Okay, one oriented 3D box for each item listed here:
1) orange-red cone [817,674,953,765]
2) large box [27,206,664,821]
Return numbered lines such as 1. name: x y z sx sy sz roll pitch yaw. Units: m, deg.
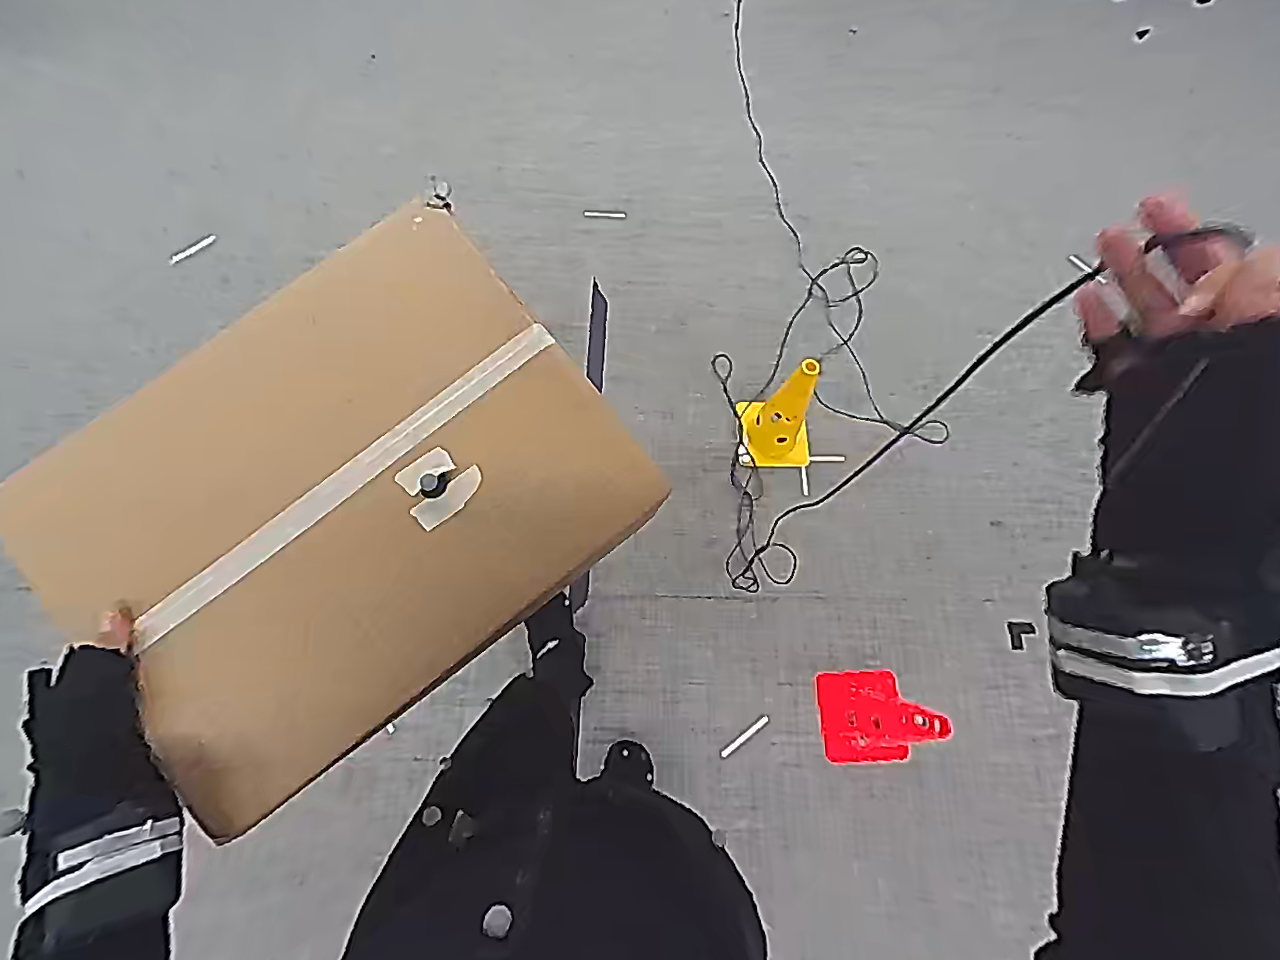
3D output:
1. orange-red cone: 0.530 0.501 1.122 0.198 0.360 0.199 0 68 -2
2. large box: -0.230 0.029 0.566 0.408 0.320 0.320 -38 86 -6
